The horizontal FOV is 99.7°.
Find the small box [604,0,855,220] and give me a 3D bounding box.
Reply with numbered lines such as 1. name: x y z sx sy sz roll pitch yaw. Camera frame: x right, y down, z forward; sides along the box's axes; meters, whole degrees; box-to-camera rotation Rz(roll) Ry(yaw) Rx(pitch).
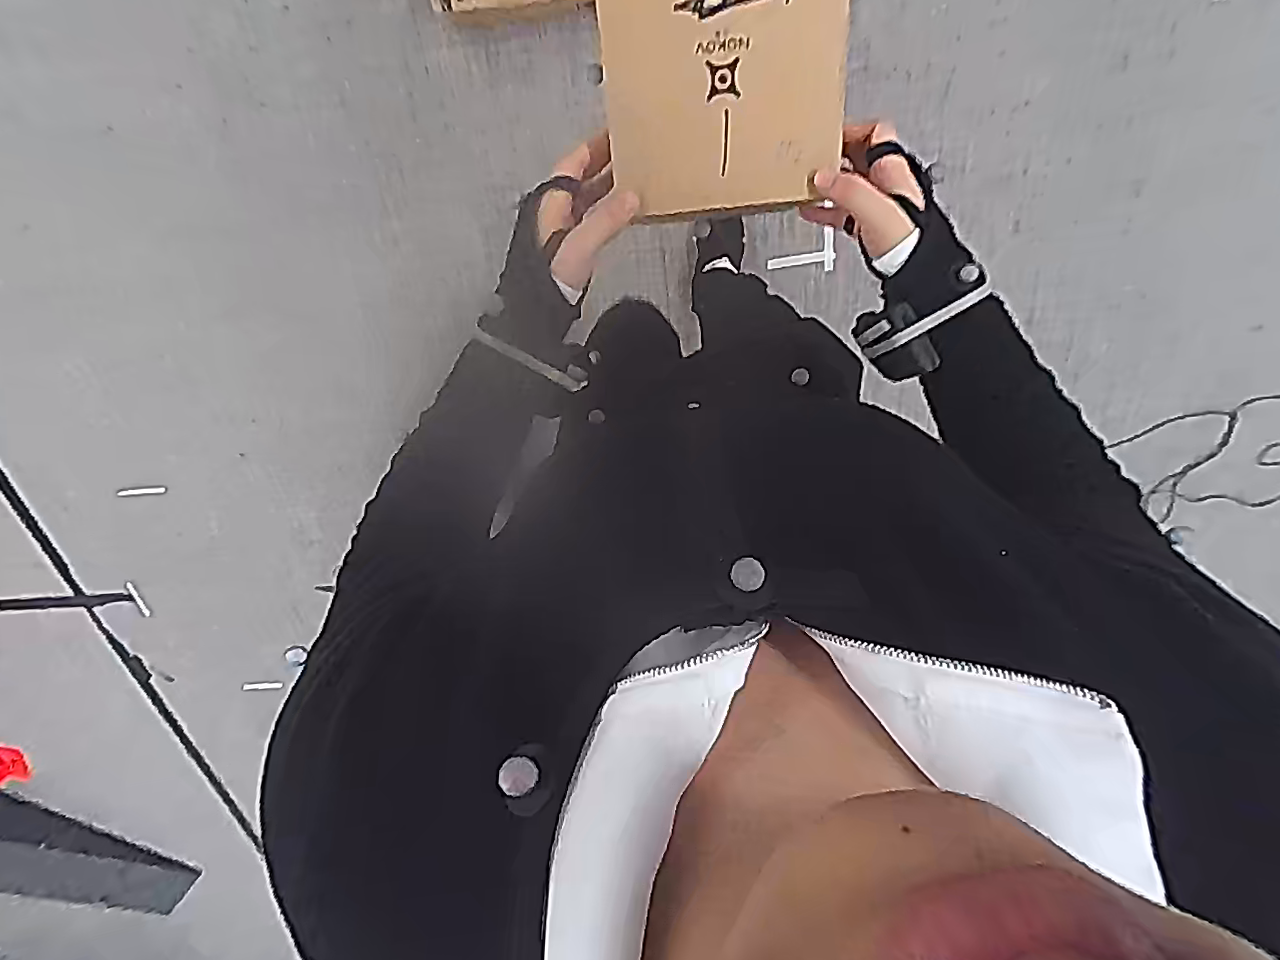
1. small box: 0.059 -0.316 0.436 0.168 0.176 0.179 -5 114 1
